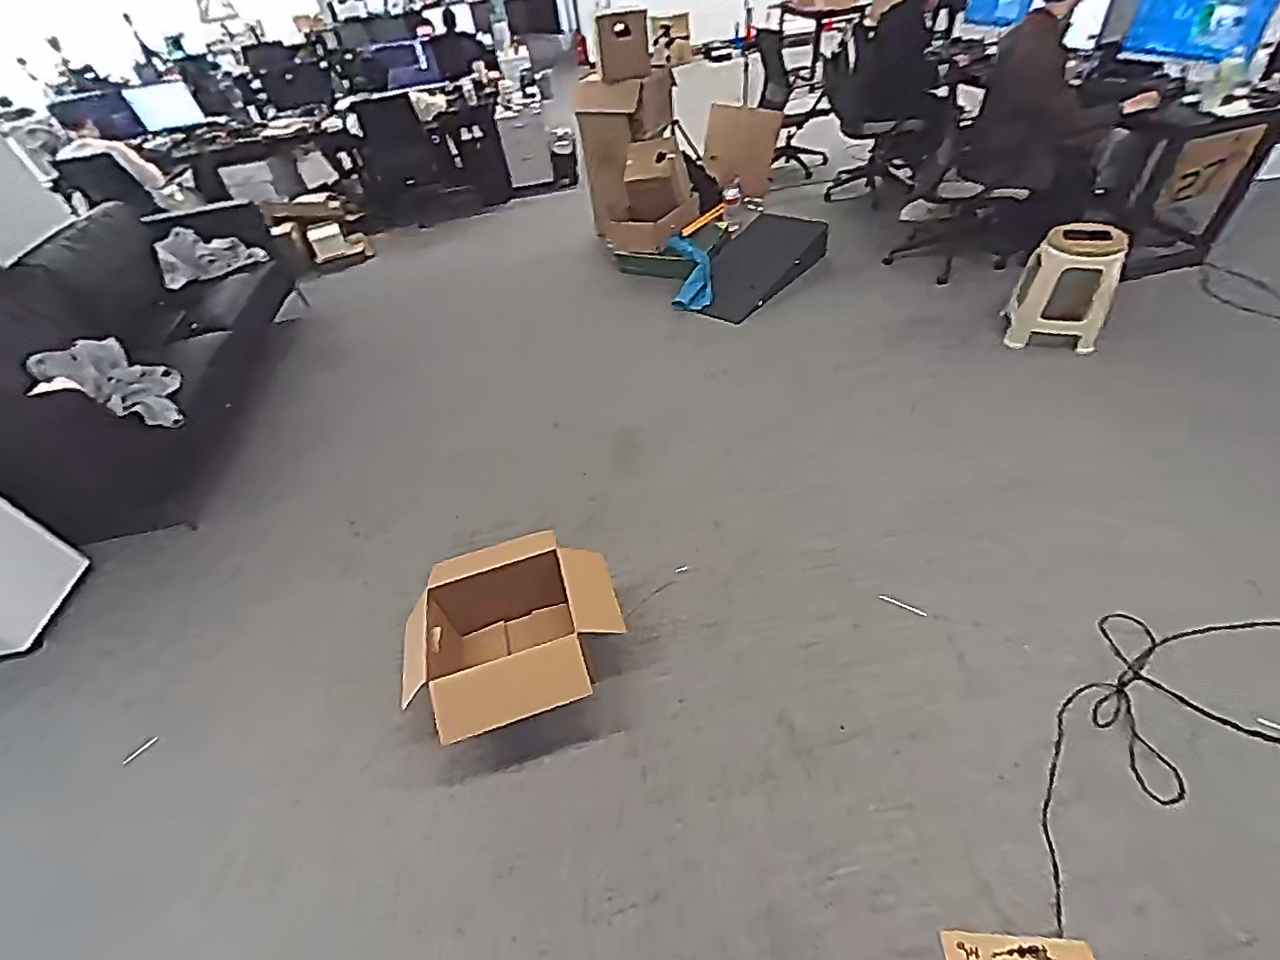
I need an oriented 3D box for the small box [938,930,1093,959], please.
[{"bbox_3d":[0.453,0.669,0.609,0.168,0.176,0.179,-8,10,18],"label":"small box"}]
